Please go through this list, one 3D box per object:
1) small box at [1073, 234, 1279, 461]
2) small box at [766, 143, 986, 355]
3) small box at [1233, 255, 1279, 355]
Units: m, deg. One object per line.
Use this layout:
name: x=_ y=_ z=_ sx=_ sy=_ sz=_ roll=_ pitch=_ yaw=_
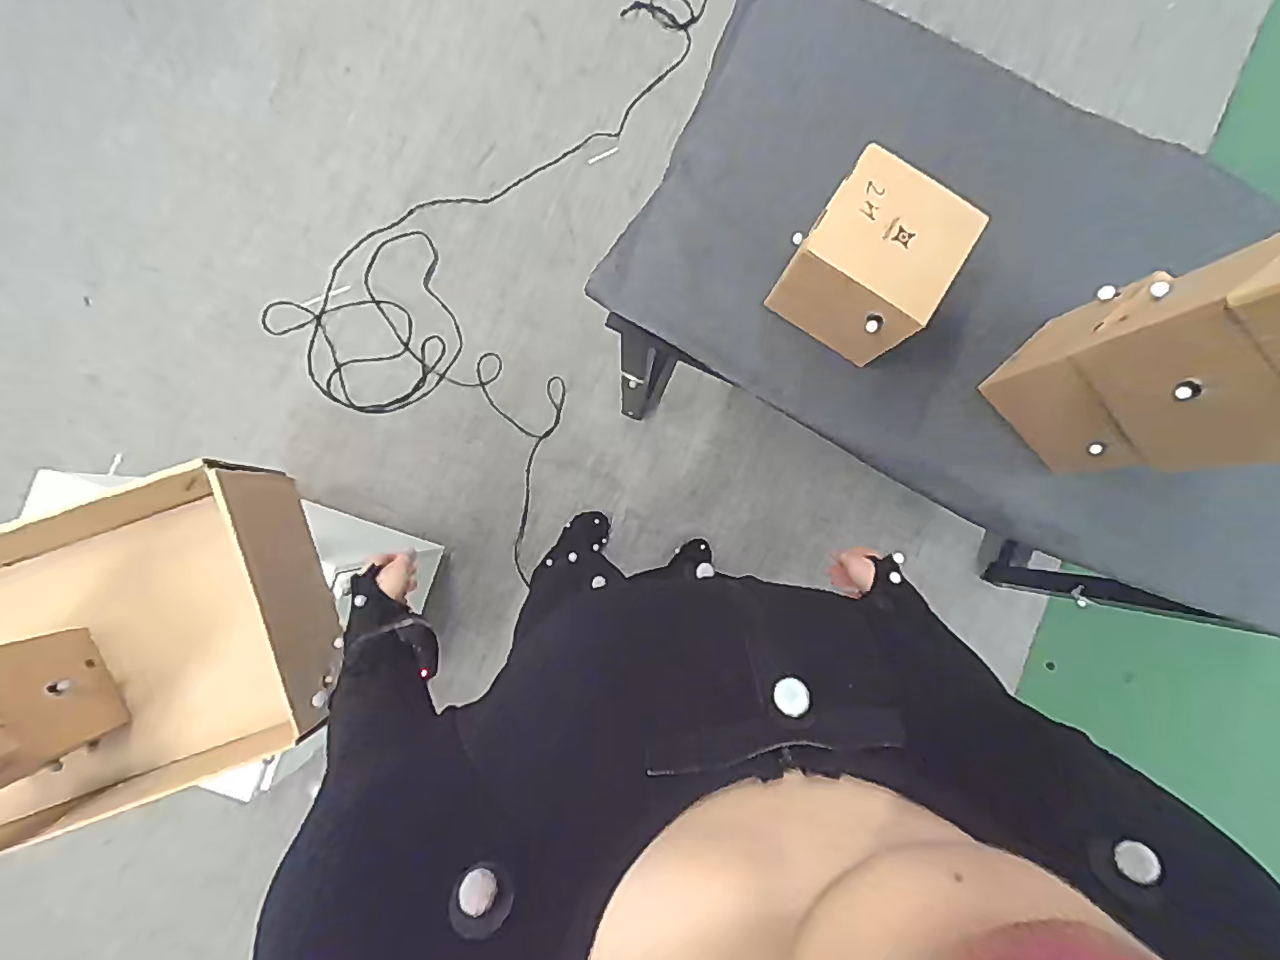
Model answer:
small box: x=0.619 y=-0.132 z=0.558 sx=0.168 sy=0.176 sz=0.179 roll=-34 pitch=87 yaw=-5
small box: x=0.300 y=-0.289 z=0.725 sx=0.179 sy=0.176 sz=0.168 roll=33 pitch=84 yaw=1
small box: x=0.623 y=-0.146 z=0.396 sx=0.168 sy=0.176 sz=0.179 roll=-36 pitch=88 yaw=-5
